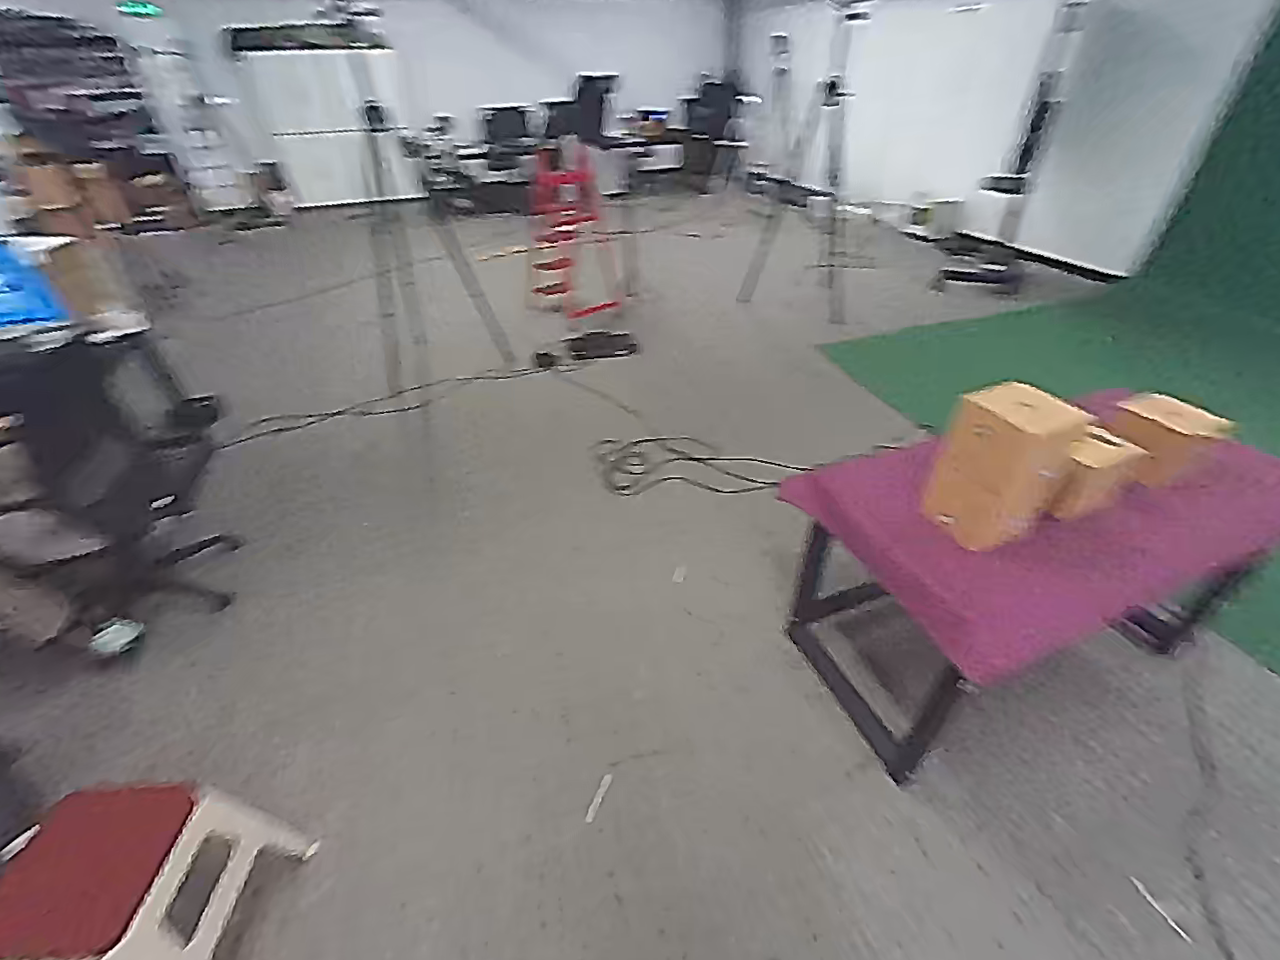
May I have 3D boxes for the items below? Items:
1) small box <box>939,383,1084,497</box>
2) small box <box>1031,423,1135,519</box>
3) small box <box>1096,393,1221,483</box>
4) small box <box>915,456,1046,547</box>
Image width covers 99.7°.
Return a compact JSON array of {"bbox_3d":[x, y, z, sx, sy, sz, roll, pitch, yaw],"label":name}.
[{"bbox_3d":[0.802,-0.089,1.191,0.168,0.176,0.179,-16,40,-16],"label":"small box"},{"bbox_3d":[1.075,-0.029,1.371,0.179,0.176,0.168,-16,40,-16],"label":"small box"},{"bbox_3d":[1.372,-0.108,1.461,0.168,0.176,0.179,-14,39,-16],"label":"small box"},{"bbox_3d":[0.803,0.041,1.293,0.168,0.176,0.179,-14,40,-17],"label":"small box"}]
